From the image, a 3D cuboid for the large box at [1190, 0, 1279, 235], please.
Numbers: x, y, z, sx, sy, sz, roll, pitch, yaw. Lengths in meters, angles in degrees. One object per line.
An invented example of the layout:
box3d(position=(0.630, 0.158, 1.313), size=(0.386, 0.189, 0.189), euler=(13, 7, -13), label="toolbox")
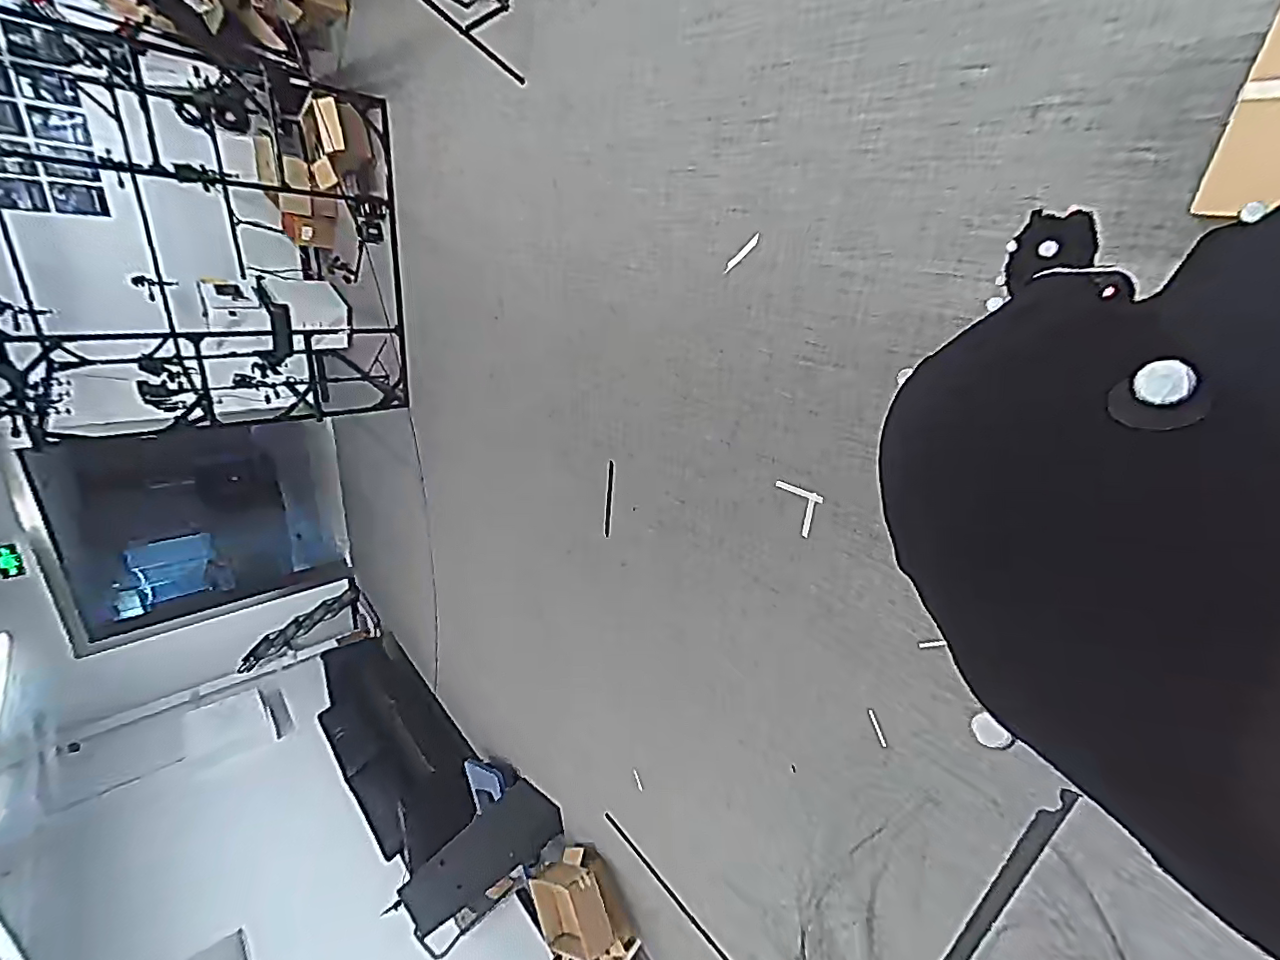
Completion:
box3d(position=(1.082, -0.508, 0.729), size=(0.408, 0.320, 0.320), euler=(27, 122, 40), label="large box")
